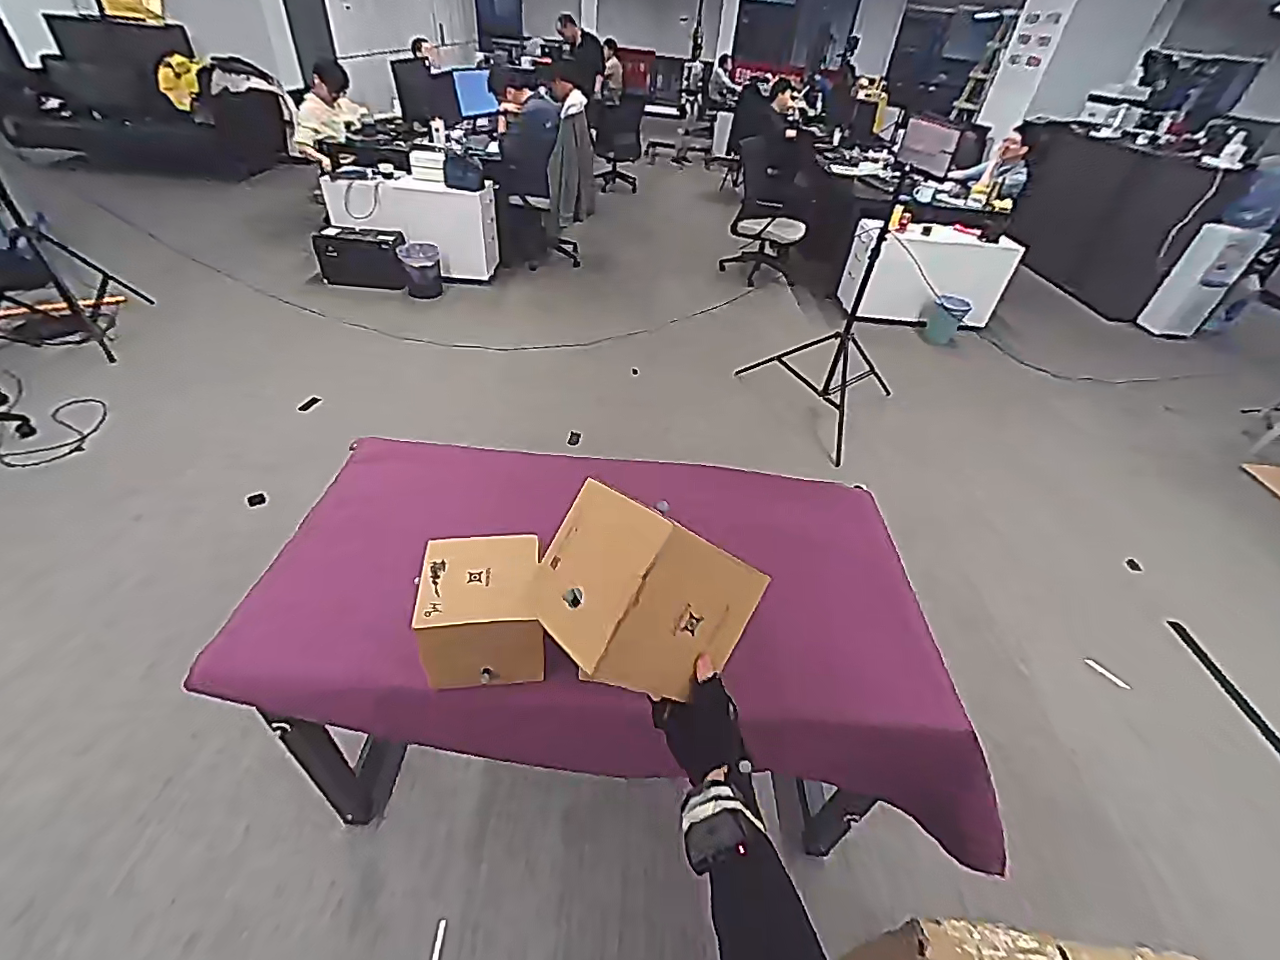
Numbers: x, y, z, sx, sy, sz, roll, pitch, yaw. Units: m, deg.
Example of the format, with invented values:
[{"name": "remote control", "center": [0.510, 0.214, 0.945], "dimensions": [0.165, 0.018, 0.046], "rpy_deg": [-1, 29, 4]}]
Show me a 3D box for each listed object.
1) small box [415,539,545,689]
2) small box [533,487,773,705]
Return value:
[{"name": "small box", "center": [-0.242, 0.212, 0.859], "dimensions": [0.179, 0.176, 0.168], "rpy_deg": [-1, 39, -11]}, {"name": "small box", "center": [0.009, 0.124, 0.615], "dimensions": [0.179, 0.168, 0.176], "rpy_deg": [32, -3, -40]}]
